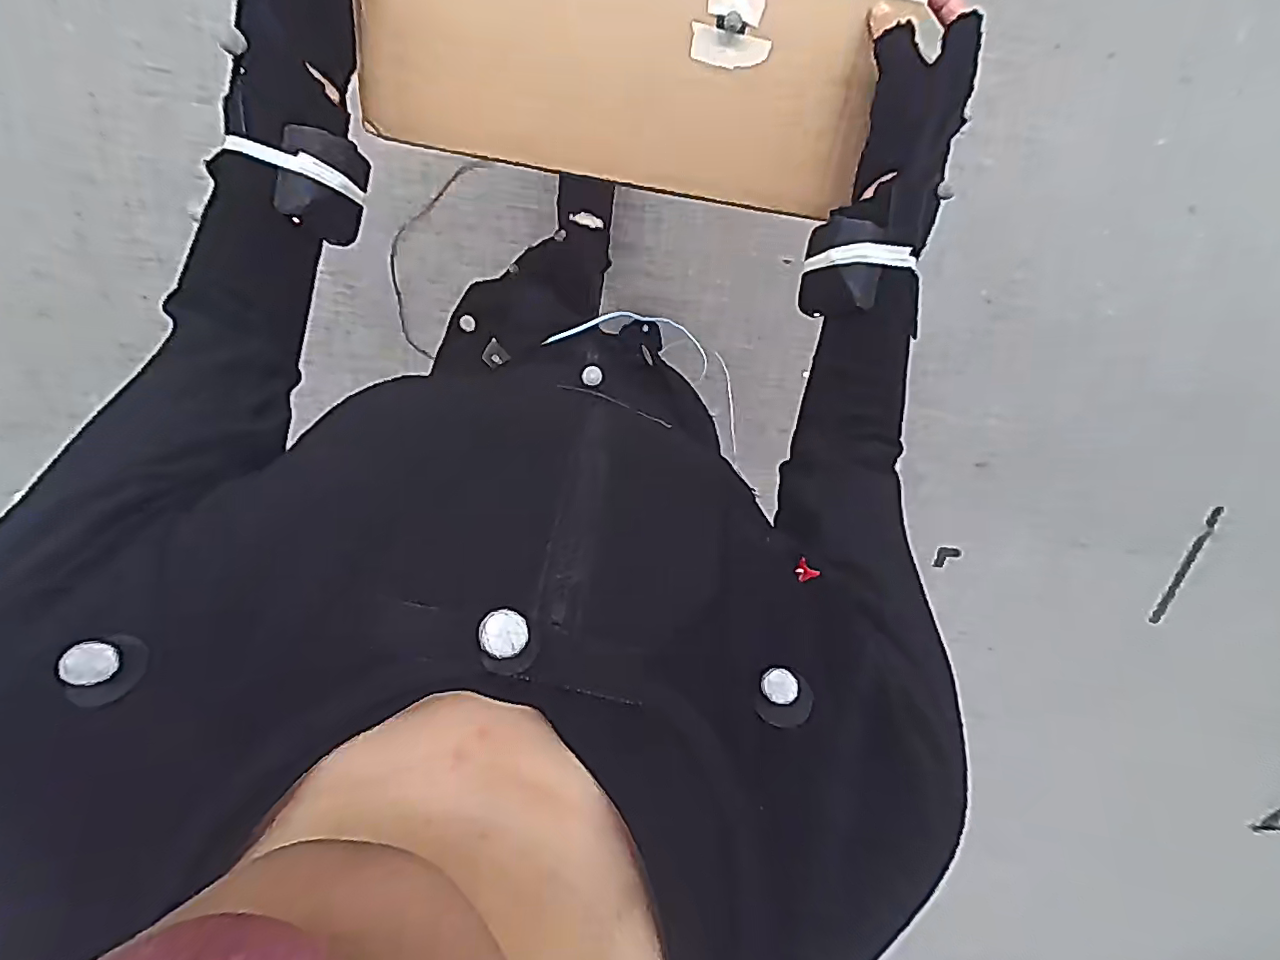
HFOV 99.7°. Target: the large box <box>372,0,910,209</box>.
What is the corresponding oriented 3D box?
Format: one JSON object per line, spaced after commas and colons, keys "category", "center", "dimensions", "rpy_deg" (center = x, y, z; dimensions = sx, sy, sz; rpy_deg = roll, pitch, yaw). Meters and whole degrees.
{"category": "large box", "center": [0.003, -0.461, 0.513], "dimensions": [0.408, 0.320, 0.320], "rpy_deg": [7, 119, -6]}
